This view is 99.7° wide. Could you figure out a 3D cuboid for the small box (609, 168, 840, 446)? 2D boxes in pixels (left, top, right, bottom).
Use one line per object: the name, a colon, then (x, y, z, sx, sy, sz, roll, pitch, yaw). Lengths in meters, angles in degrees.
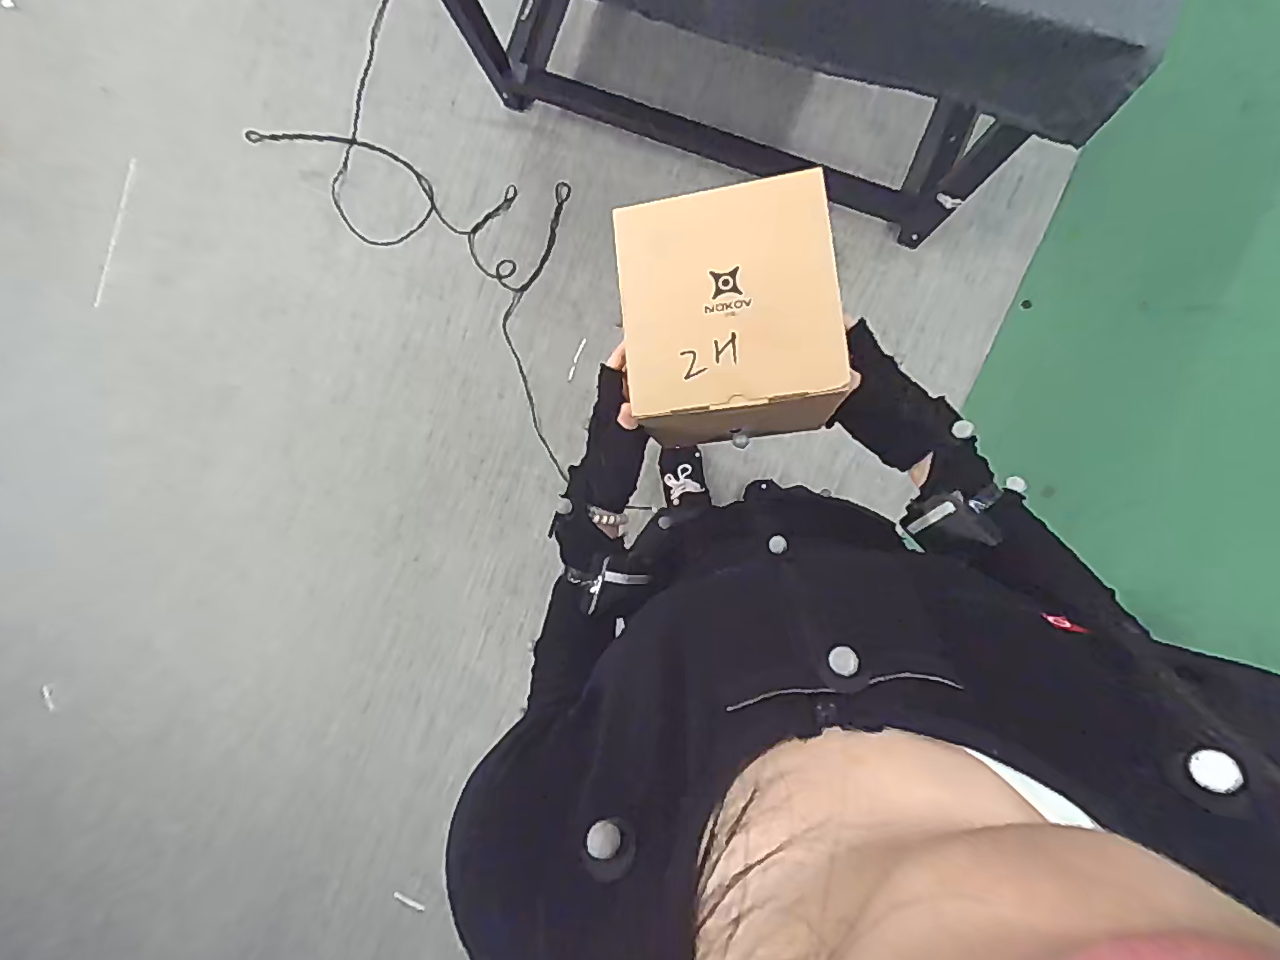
small box: (0.074, -0.136, 0.490, 0.168, 0.176, 0.179, -6, 84, 11)
